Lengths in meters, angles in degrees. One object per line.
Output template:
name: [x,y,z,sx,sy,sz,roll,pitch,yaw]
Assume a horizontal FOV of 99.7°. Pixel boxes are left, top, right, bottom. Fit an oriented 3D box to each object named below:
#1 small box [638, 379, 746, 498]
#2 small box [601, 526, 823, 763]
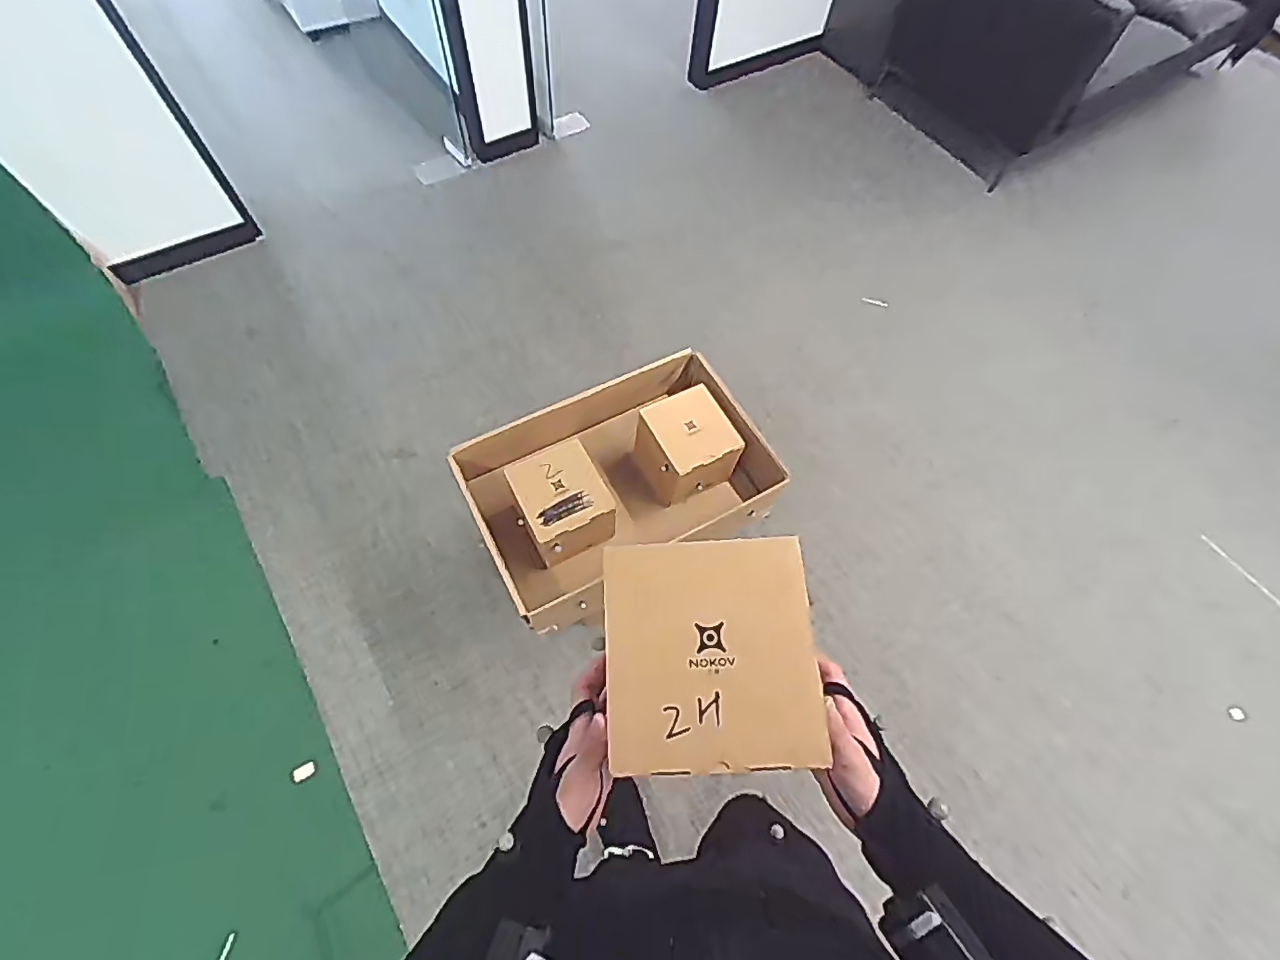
small box: [0.105,-0.088,1.208,0.168,0.176,0.179,-26,70,-15]
small box: [0.053,0.150,0.499,0.168,0.176,0.179,-4,70,2]
